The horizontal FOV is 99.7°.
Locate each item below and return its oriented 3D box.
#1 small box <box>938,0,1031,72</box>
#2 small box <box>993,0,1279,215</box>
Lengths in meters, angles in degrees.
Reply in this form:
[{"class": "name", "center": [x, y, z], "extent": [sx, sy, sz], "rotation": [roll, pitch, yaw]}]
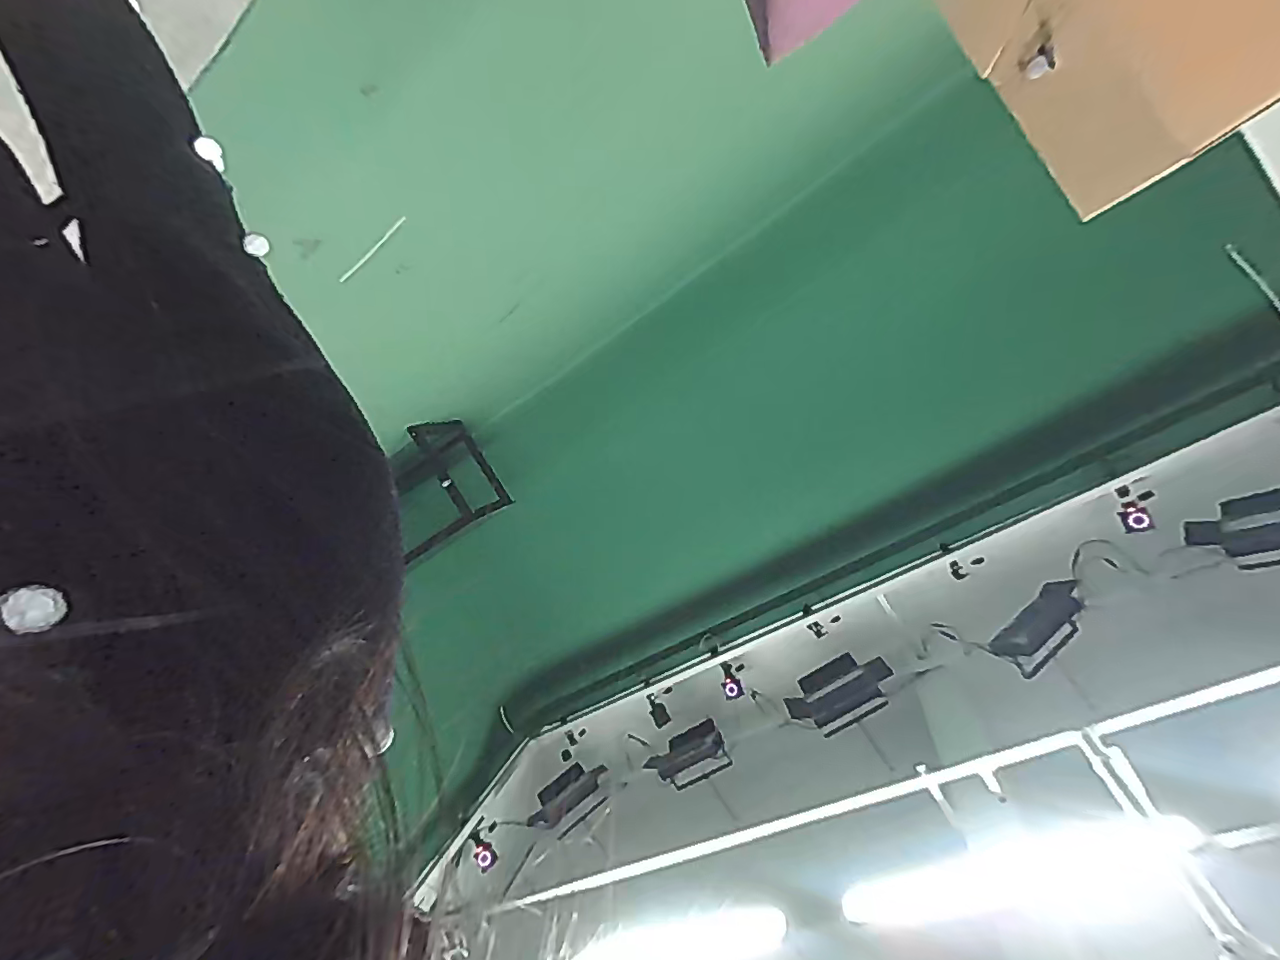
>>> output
[{"class": "small box", "center": [0.326, -0.481, 0.406], "extent": [0.179, 0.176, 0.168], "rotation": [-32, 180, 19]}, {"class": "small box", "center": [0.413, -0.344, 0.400], "extent": [0.179, 0.176, 0.168], "rotation": [-33, 179, 21]}]
